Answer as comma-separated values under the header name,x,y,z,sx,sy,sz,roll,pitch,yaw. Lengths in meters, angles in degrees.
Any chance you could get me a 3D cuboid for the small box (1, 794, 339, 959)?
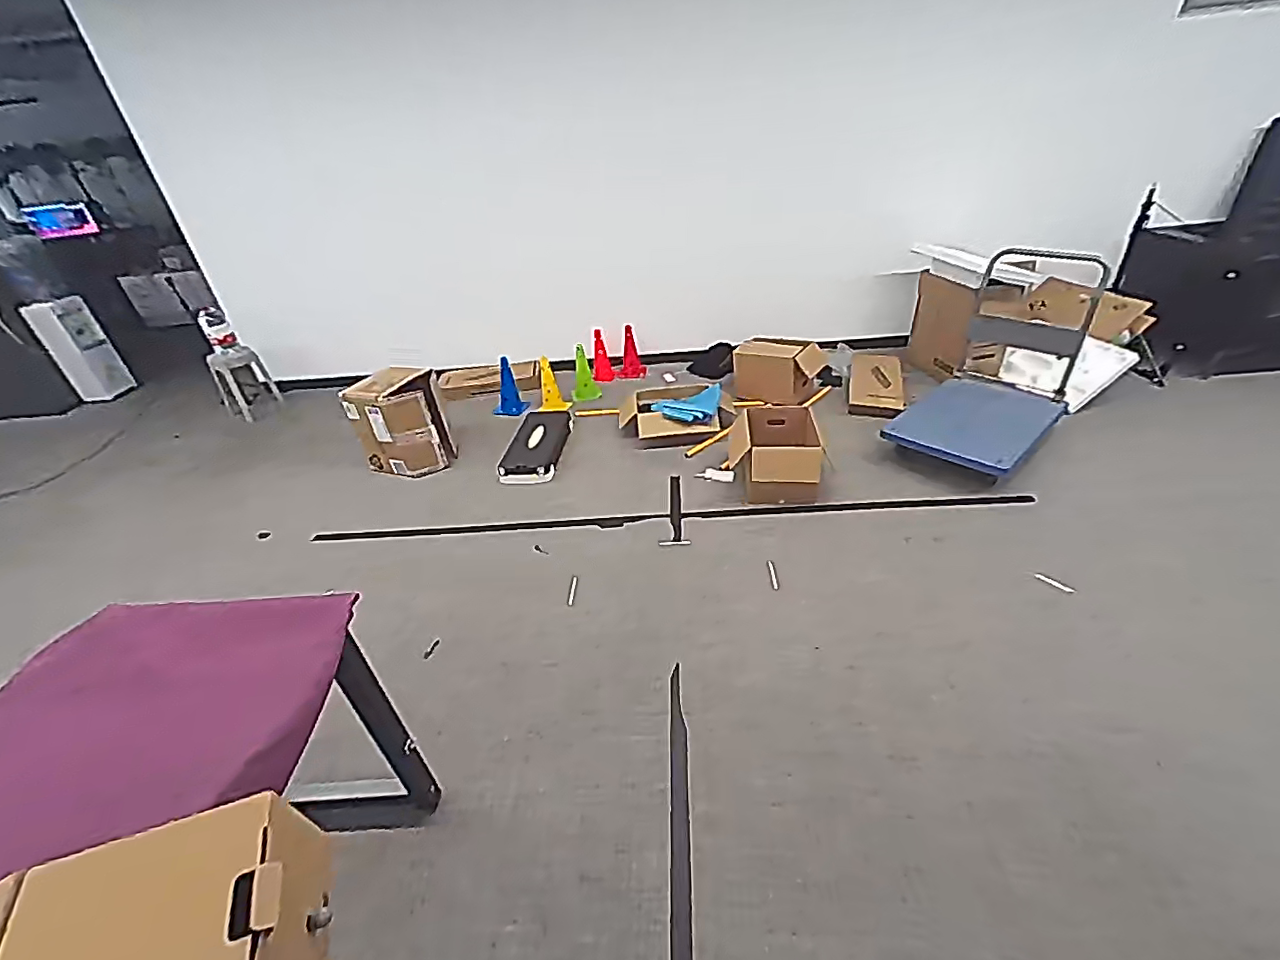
name,x,y,z,sx,sy,sz,roll,pitch,yaw
small box,-0.379,0.406,0.455,0.179,0.176,0.168,-13,46,-17
